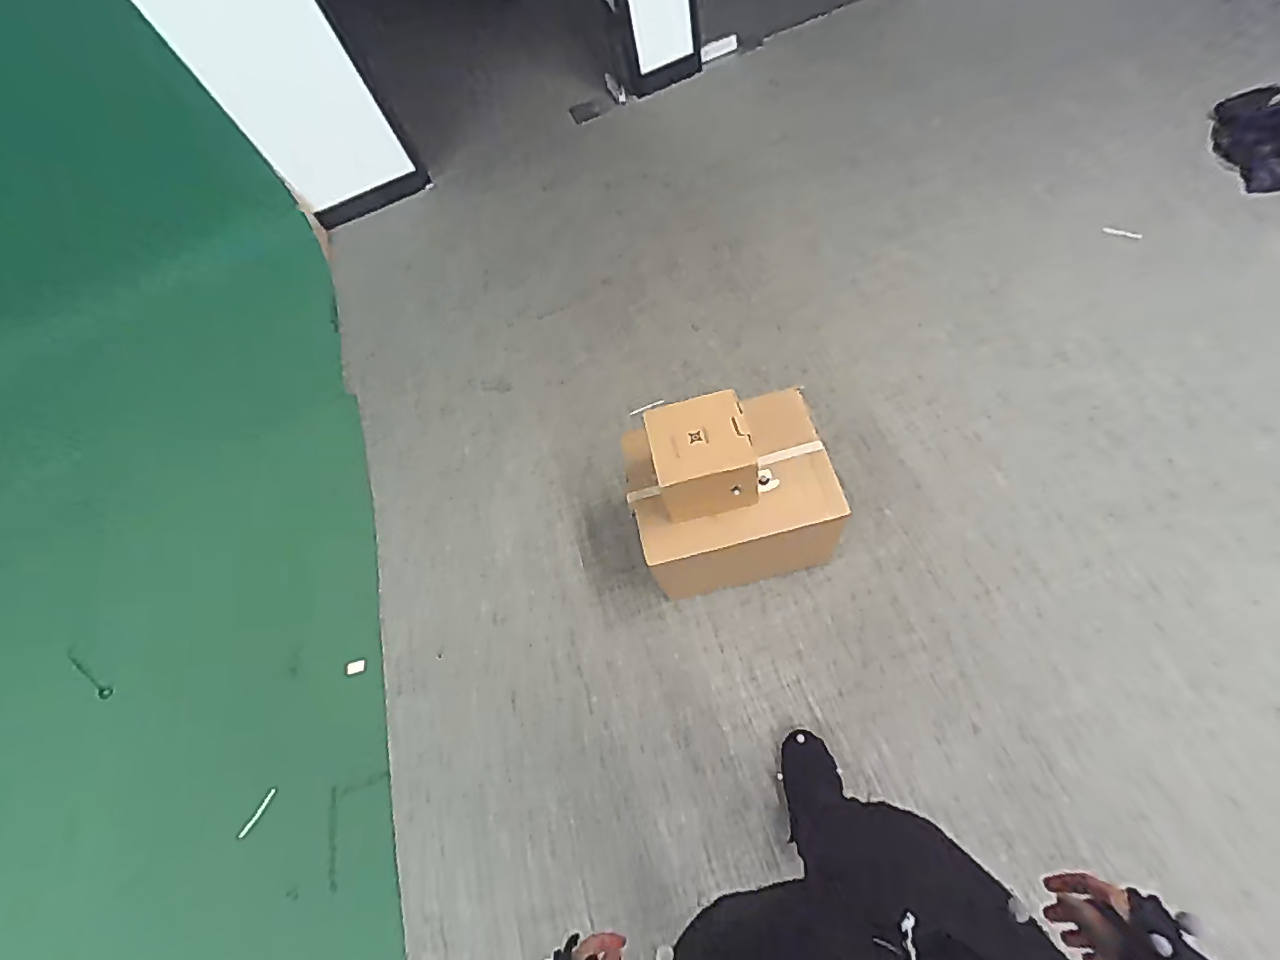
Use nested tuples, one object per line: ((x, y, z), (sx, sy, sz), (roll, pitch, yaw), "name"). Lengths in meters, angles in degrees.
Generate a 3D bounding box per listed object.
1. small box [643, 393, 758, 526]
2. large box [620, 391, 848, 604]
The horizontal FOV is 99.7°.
((0.117, -0.033, 1.023), (0.179, 0.176, 0.168), (-15, 60, 5), "small box")
((0.201, 0.057, 1.237), (0.408, 0.320, 0.320), (-15, 63, 3), "large box")
